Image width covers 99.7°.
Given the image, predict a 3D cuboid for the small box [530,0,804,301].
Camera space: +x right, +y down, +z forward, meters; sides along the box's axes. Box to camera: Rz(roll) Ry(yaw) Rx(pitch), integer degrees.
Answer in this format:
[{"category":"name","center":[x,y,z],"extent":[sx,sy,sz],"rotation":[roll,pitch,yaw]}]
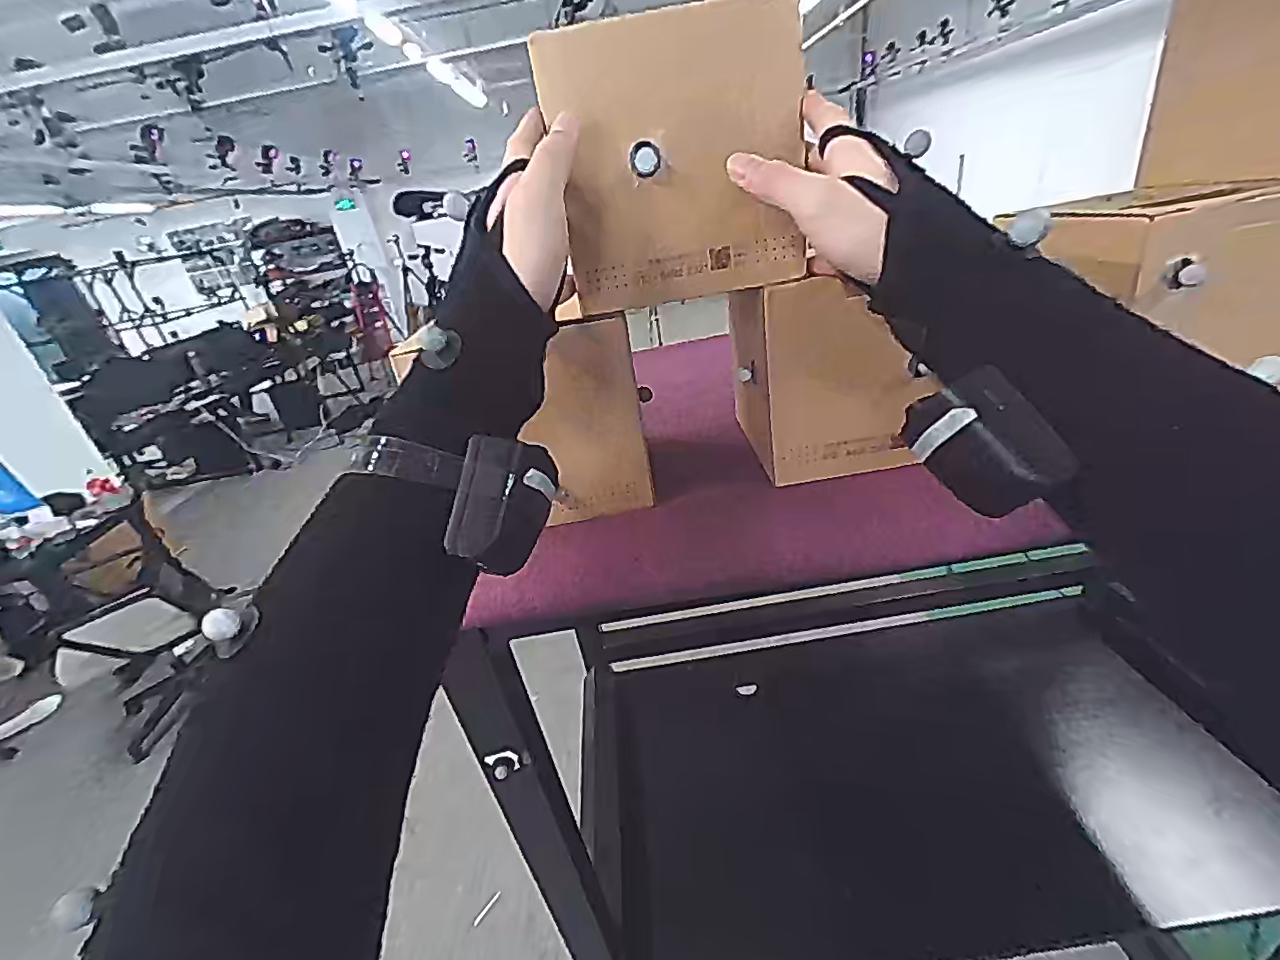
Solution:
[{"category":"small box","center":[0.024,-0.245,0.426],"extent":[0.168,0.176,0.179],"rotation":[-10,27,2]}]

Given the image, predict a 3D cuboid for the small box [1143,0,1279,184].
[{"category":"small box","center":[0.555,-0.337,0.414],"extent":[0.168,0.176,0.179],"rotation":[-10,26,0]}]

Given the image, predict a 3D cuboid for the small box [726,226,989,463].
[{"category":"small box","center":[0.180,-0.122,0.493],"extent":[0.168,0.176,0.179],"rotation":[-9,26,3]}]

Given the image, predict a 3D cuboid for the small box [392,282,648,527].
[{"category":"small box","center":[-0.090,-0.076,0.495],"extent":[0.179,0.176,0.168],"rotation":[-9,27,-2]}]
